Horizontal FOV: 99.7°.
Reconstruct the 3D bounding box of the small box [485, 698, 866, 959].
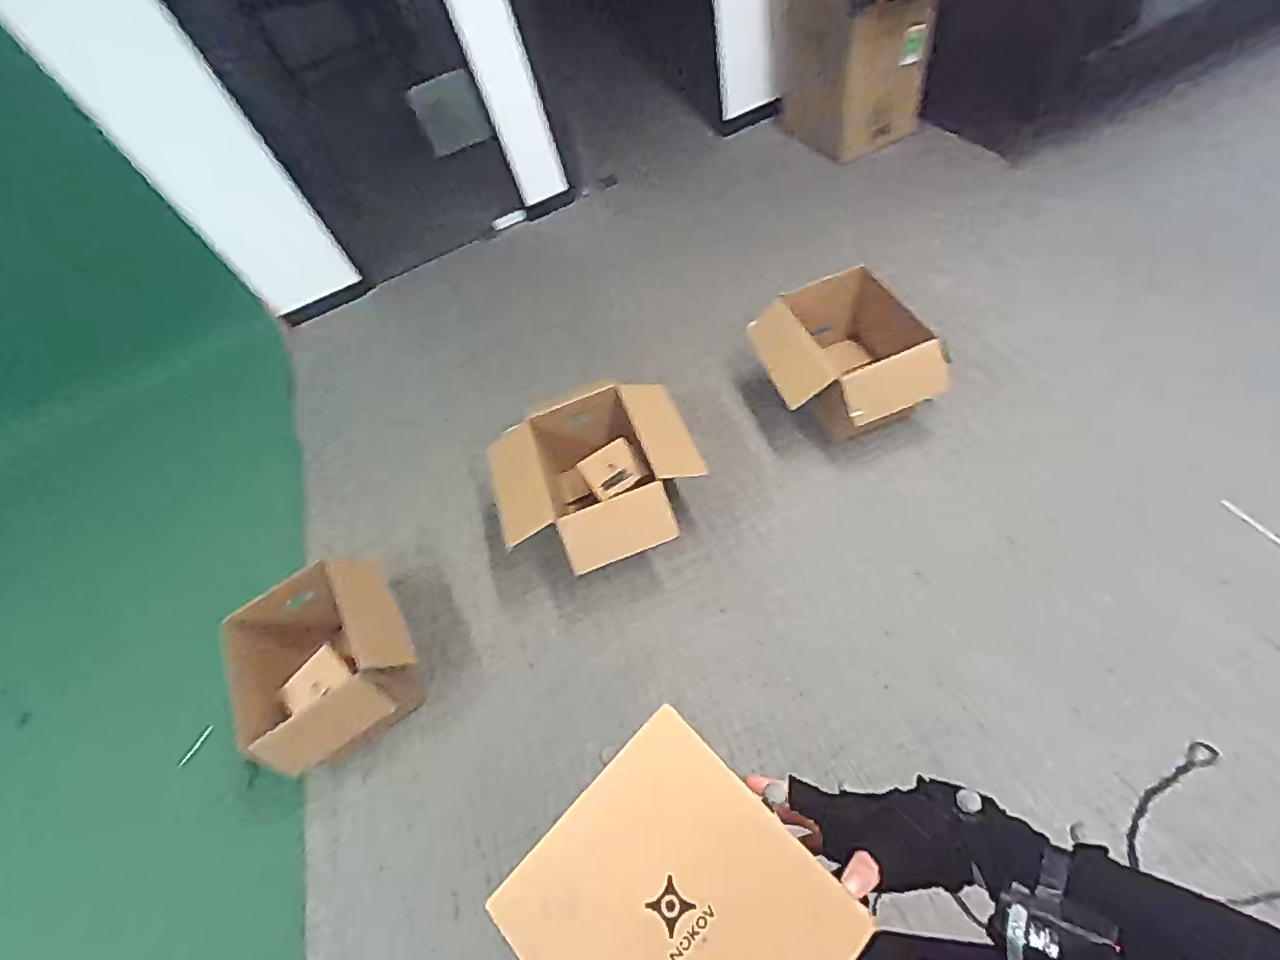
[{"bbox_3d":[0.022,0.293,0.399,0.168,0.176,0.179,-41,68,-15],"label":"small box"}]
